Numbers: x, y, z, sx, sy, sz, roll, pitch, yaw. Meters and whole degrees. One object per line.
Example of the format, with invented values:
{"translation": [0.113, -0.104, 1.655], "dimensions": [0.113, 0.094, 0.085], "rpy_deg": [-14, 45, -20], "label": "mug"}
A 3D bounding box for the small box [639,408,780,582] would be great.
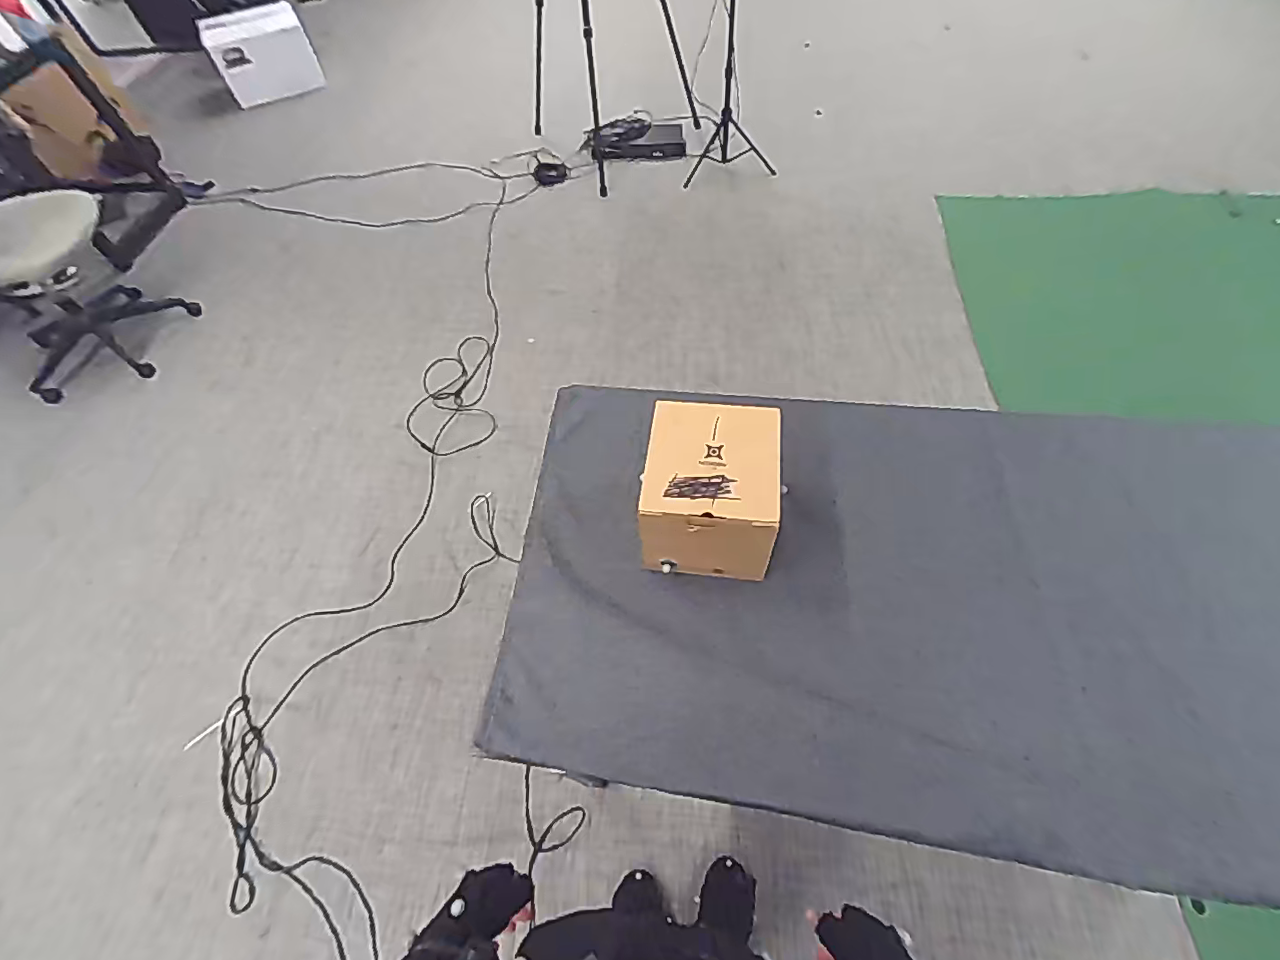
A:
{"translation": [0.098, 0.025, 0.742], "dimensions": [0.168, 0.176, 0.179], "rpy_deg": [5, 56, 8], "label": "small box"}
